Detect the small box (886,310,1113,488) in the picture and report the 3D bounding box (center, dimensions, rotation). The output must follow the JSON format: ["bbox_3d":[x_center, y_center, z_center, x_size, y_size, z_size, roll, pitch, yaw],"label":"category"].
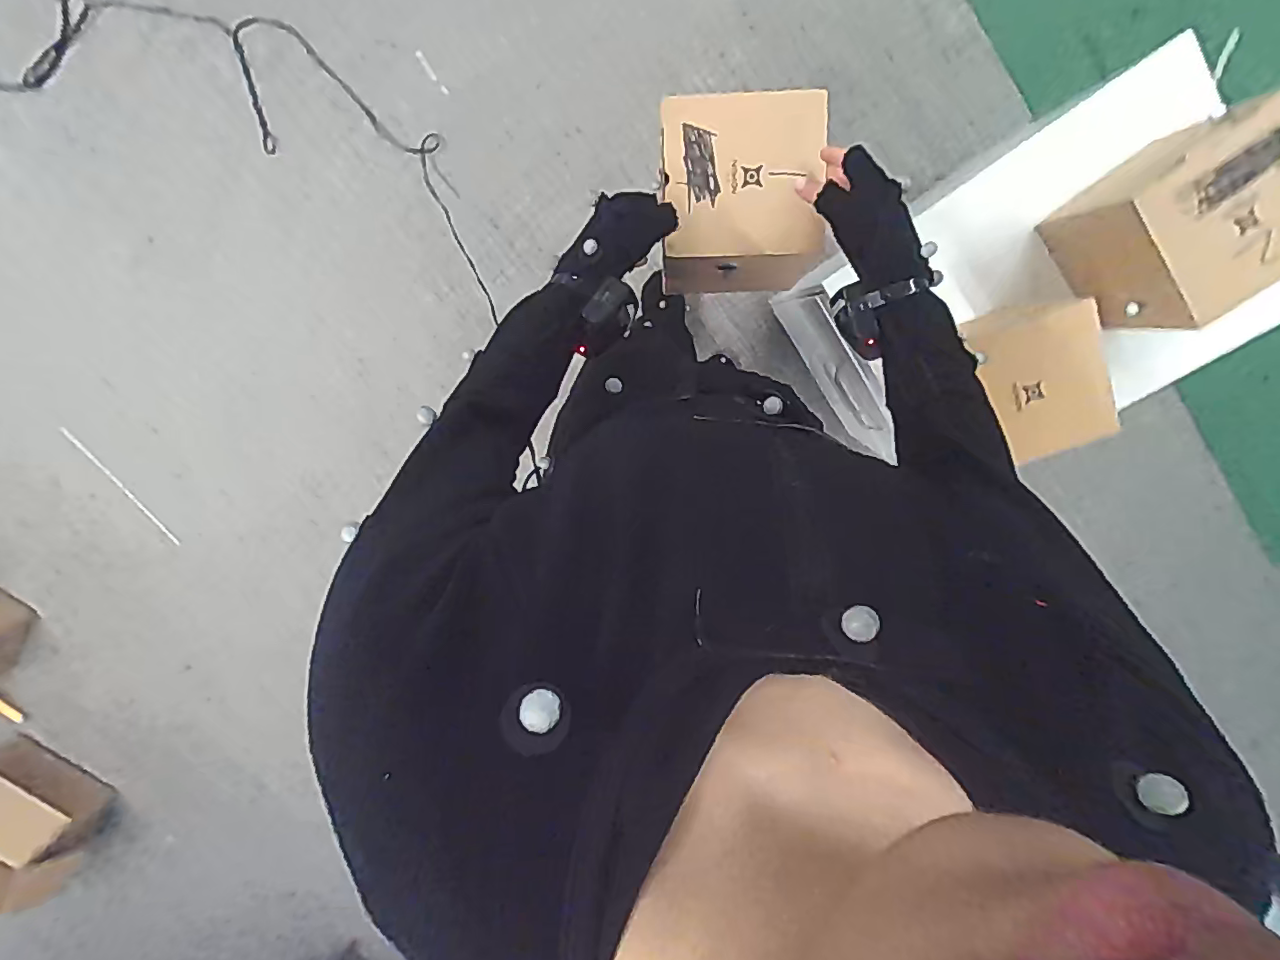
[{"bbox_3d":[0.457,-0.112,0.713,0.179,0.176,0.168,-20,102,10],"label":"small box"}]
